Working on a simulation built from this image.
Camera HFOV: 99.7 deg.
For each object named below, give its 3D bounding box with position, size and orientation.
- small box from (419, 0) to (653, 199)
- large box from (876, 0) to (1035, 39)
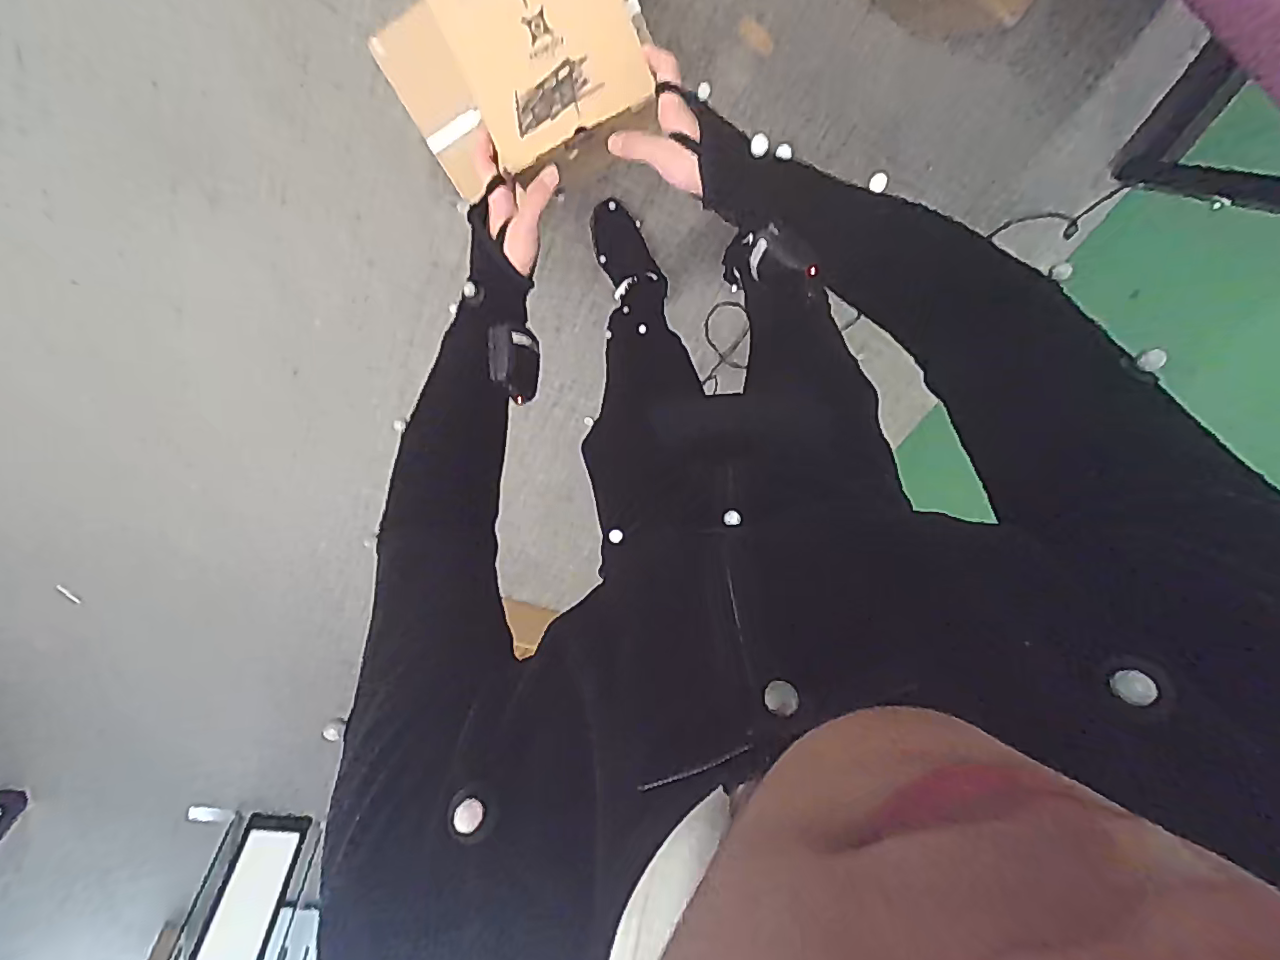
[{"bbox_3d":[-0.093,-0.419,0.564,0.168,0.176,0.179,-24,104,6],"label":"small box"},{"bbox_3d":[0.562,-1.037,0.875,0.320,0.320,0.408,19,120,-20],"label":"large box"}]
